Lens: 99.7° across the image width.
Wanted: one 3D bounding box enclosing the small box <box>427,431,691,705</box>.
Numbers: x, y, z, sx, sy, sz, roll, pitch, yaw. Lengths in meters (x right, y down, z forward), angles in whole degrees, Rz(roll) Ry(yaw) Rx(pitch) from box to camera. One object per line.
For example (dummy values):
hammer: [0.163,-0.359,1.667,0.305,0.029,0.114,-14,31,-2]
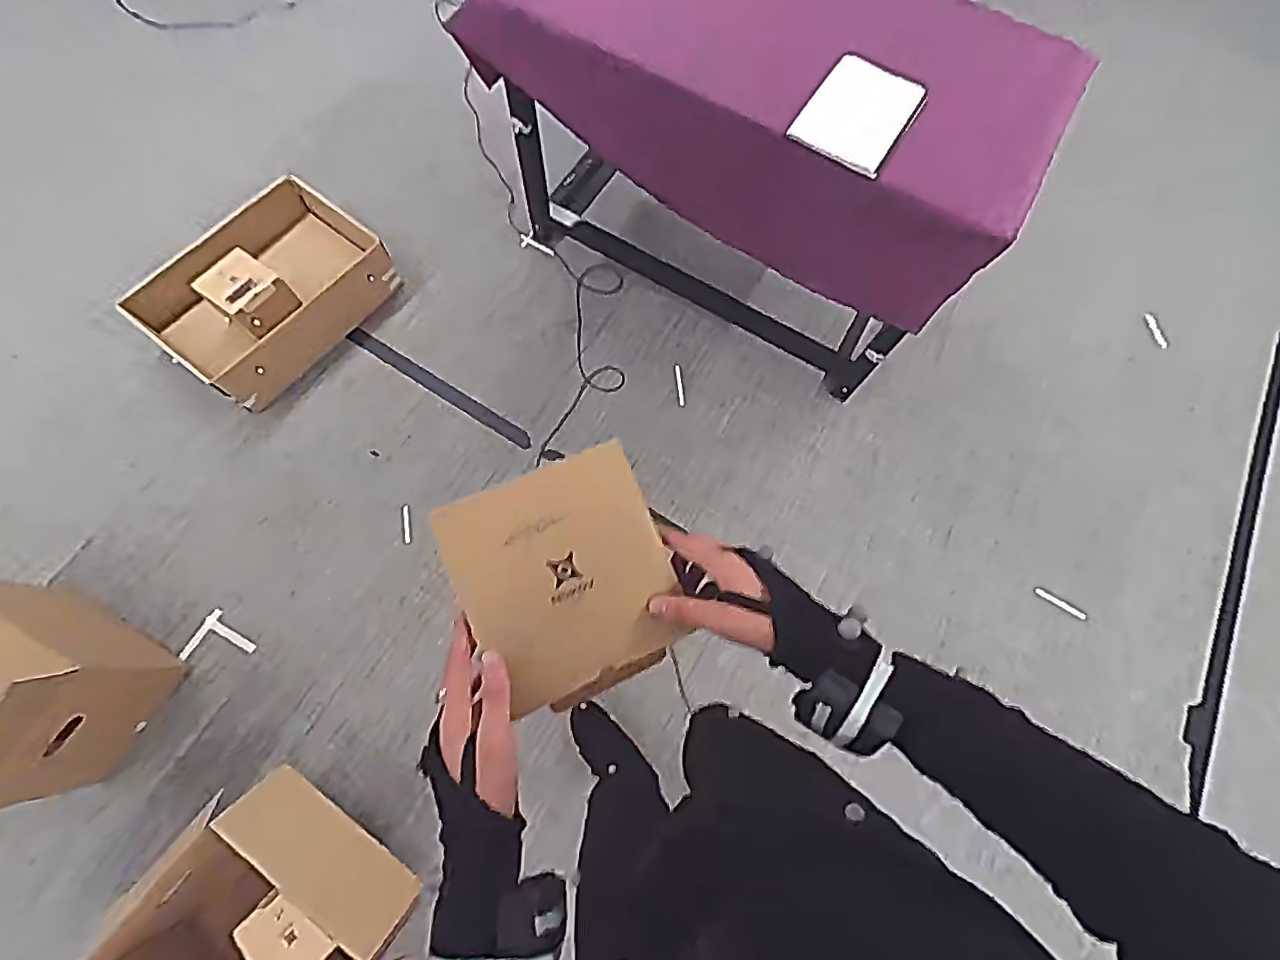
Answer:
small box: [-0.075,0.074,0.509,0.168,0.176,0.179,-22,88,-12]
